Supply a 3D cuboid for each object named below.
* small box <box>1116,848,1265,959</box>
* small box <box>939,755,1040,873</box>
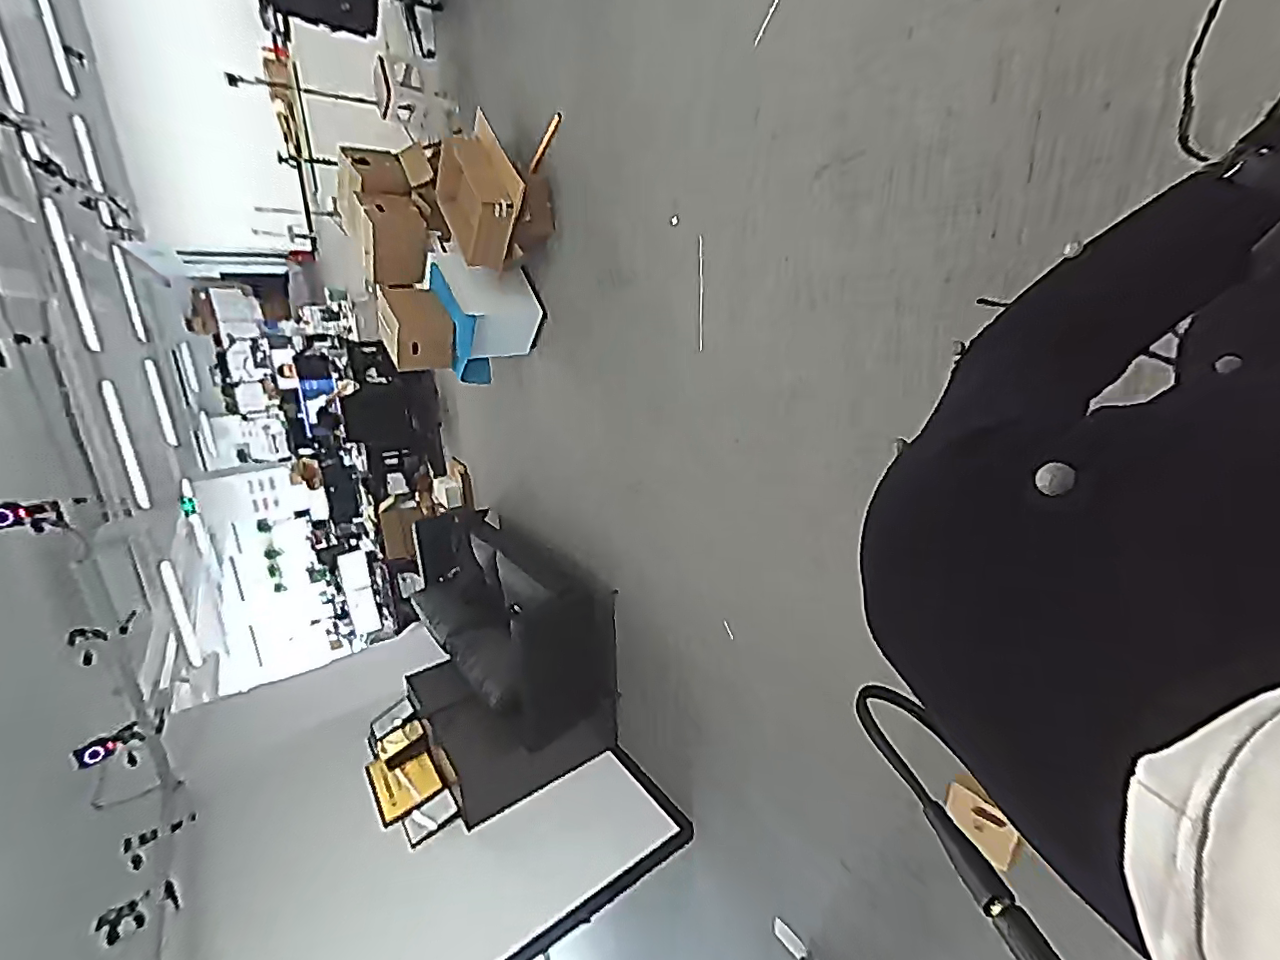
[{"bbox_3d":[1.176,0.943,1.154,0.168,0.176,0.179,32,126,47],"label":"small box"},{"bbox_3d":[0.948,0.892,1.463,0.168,0.176,0.179,25,121,49],"label":"small box"}]
